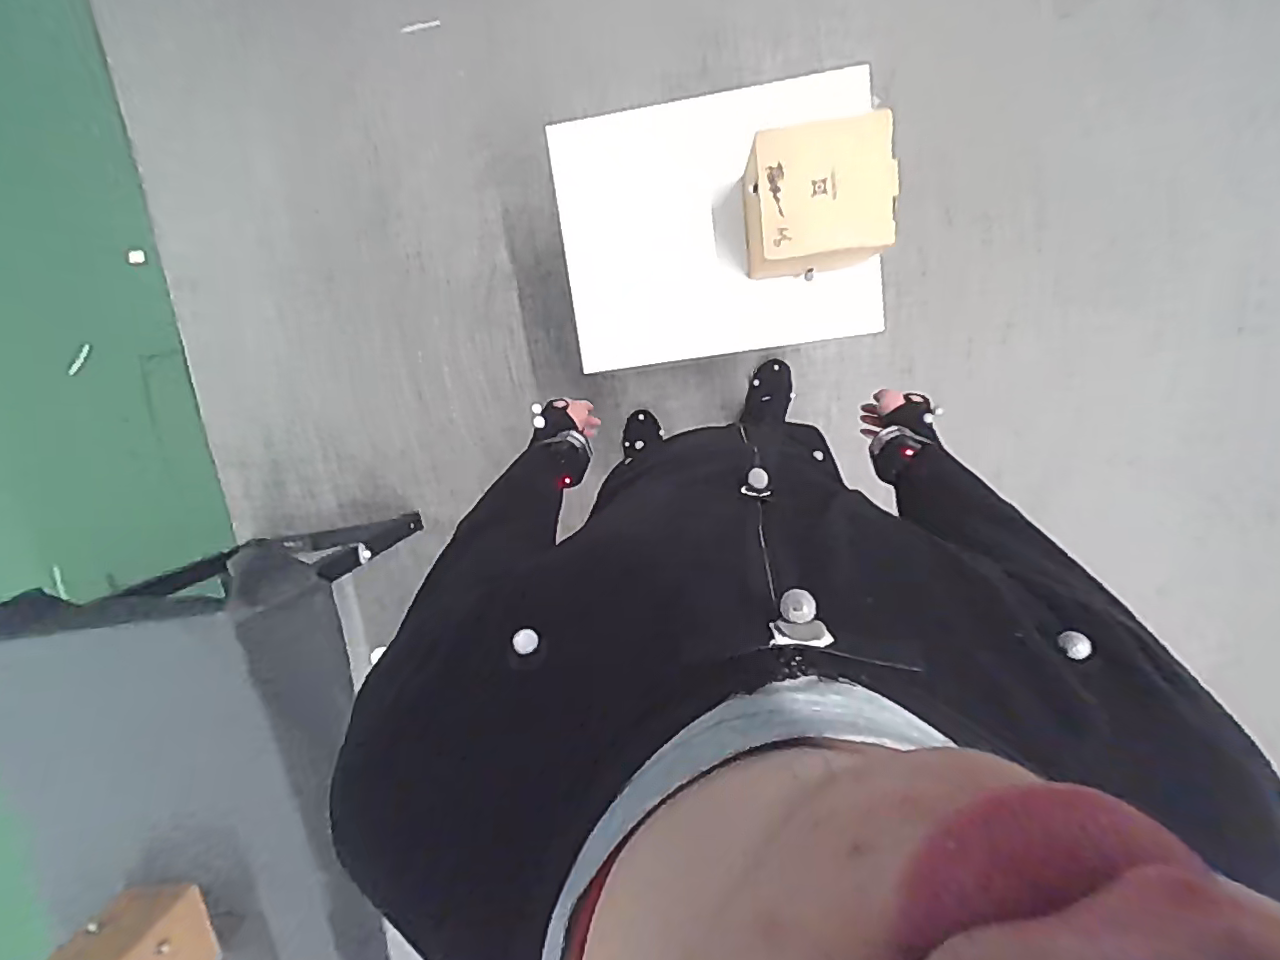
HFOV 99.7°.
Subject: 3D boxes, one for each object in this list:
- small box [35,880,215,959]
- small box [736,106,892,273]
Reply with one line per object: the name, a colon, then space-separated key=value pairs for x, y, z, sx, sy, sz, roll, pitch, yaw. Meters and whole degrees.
small box: x=-0.929 y=0.861 z=0.976 sx=0.168 sy=0.176 sz=0.179 roll=-8 pitch=103 yaw=6
small box: x=0.242 y=-0.405 z=0.782 sx=0.179 sy=0.176 sz=0.168 roll=-5 pitch=102 yaw=3
